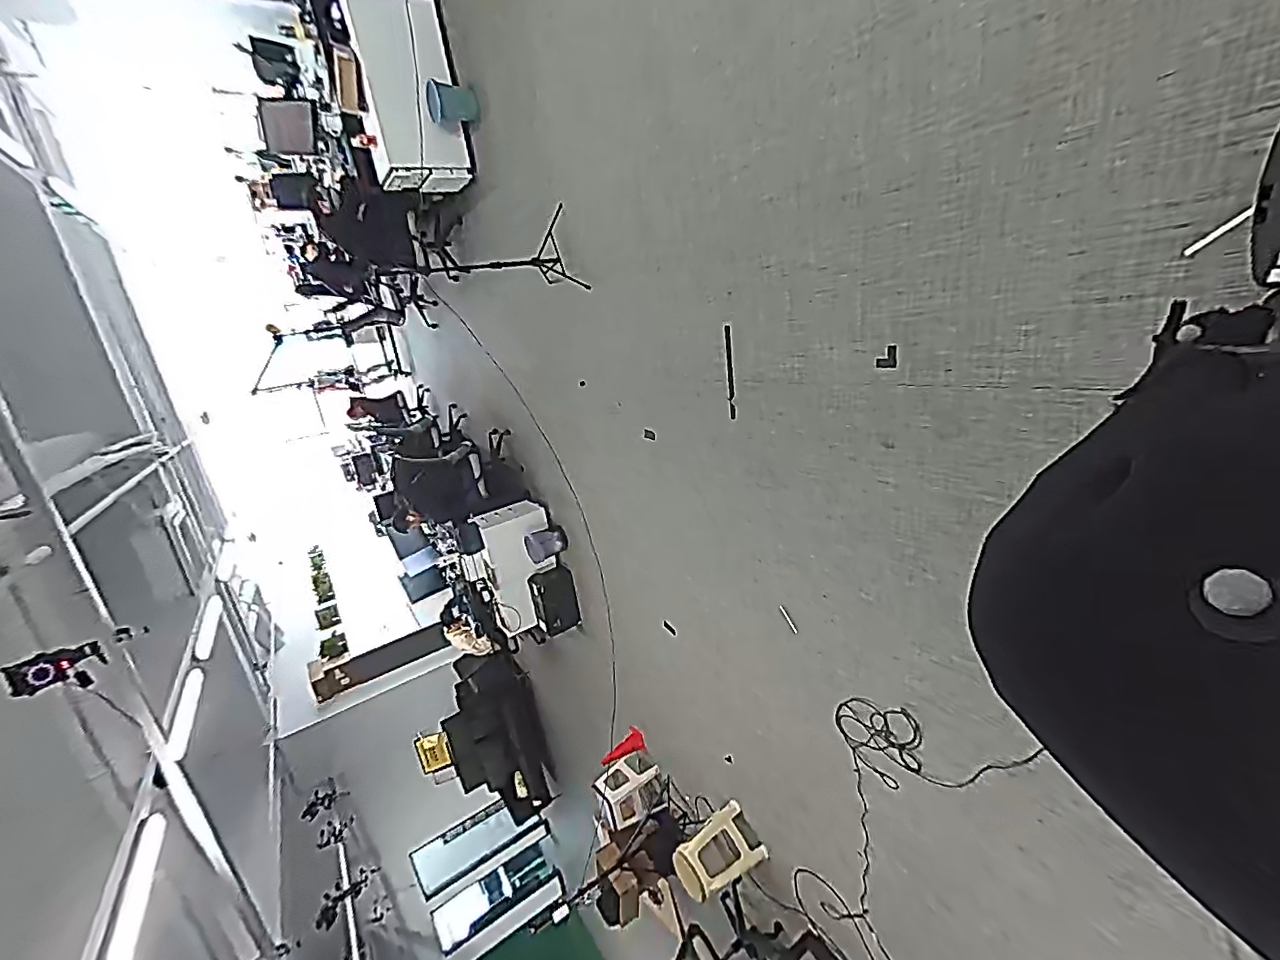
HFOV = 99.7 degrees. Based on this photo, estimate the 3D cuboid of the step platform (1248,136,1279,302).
[{"bbox_3d":[1.275,-0.408,0.677,0.684,0.204,0.286,15,121,55],"label":"step platform"}]
